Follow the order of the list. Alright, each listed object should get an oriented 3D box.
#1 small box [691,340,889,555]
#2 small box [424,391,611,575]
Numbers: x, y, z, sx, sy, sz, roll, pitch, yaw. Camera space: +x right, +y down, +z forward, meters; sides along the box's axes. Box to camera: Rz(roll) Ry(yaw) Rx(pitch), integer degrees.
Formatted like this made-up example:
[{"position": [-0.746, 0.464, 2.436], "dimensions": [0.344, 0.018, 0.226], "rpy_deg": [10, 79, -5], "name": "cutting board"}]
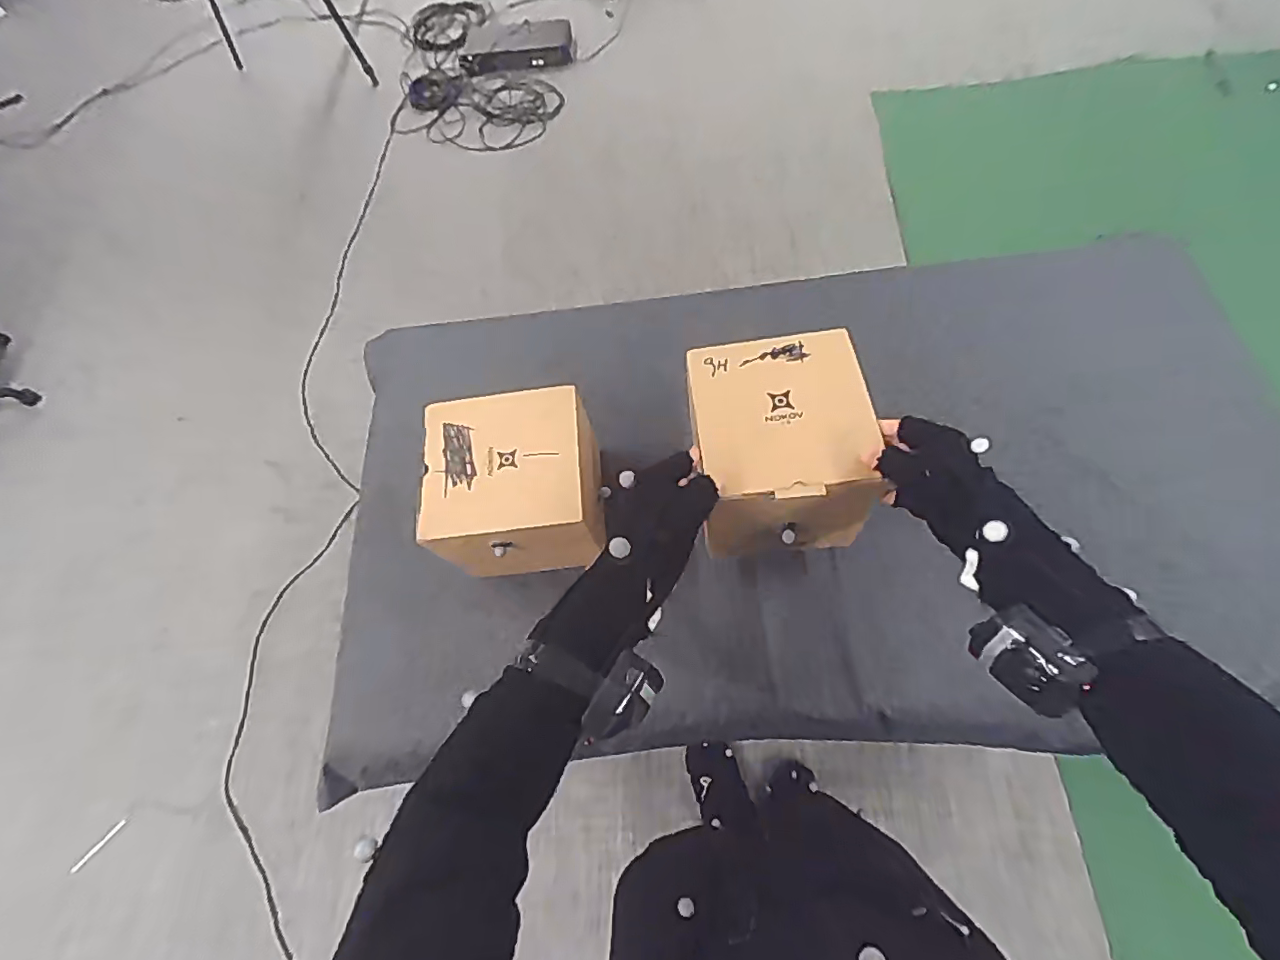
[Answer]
[{"position": [0.149, -0.023, 0.594], "dimensions": [0.168, 0.176, 0.179], "rpy_deg": [-6, 63, 5], "name": "small box"}, {"position": [-0.137, 0.013, 0.660], "dimensions": [0.179, 0.176, 0.168], "rpy_deg": [-6, 67, 3], "name": "small box"}]
